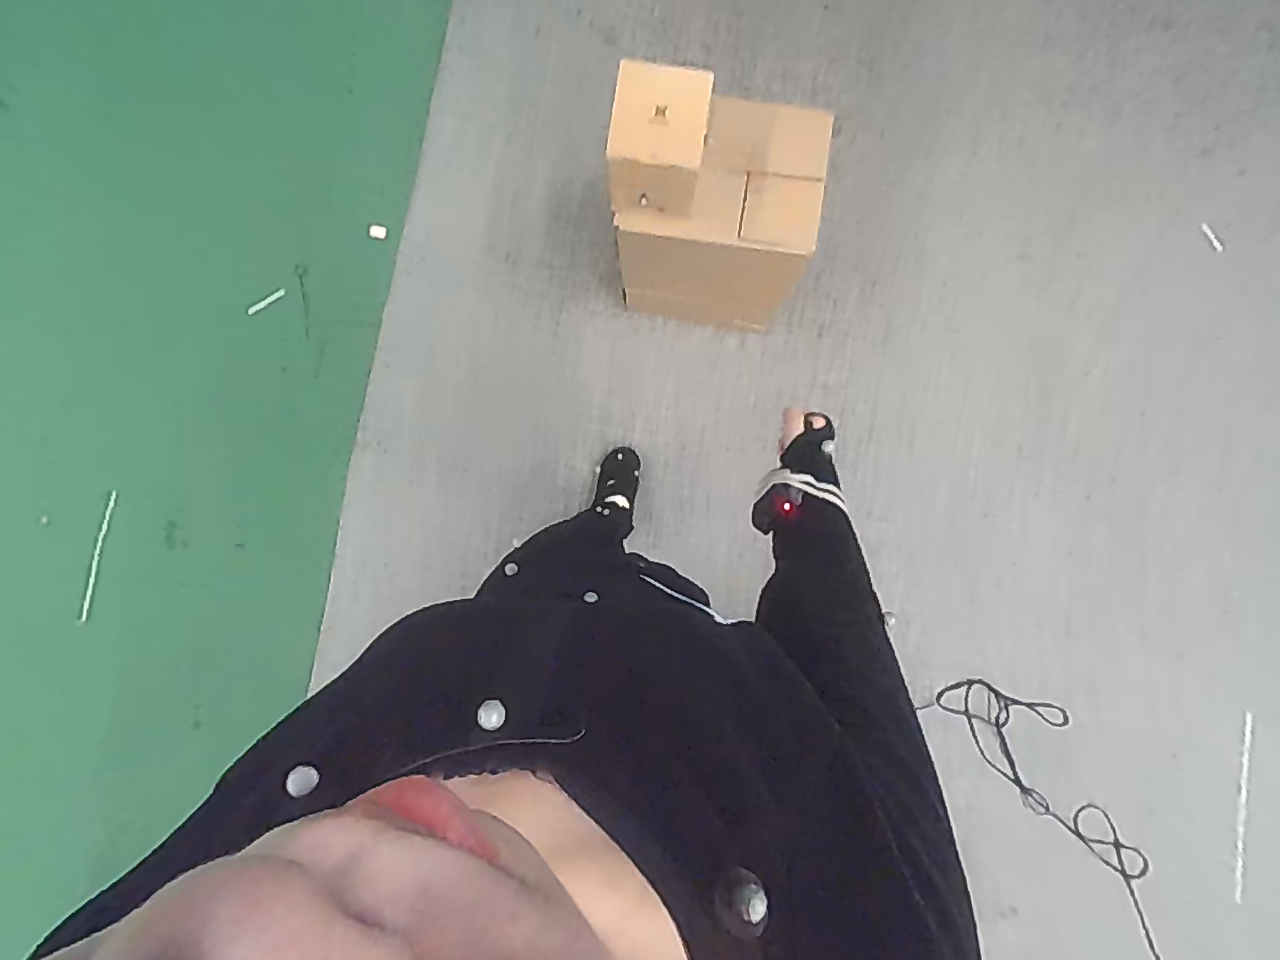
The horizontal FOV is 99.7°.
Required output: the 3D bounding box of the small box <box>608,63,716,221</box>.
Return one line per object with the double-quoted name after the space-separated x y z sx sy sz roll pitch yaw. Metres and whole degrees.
0.037 -0.619 1.008 0.168 0.176 0.179 9 89 0 "small box"
